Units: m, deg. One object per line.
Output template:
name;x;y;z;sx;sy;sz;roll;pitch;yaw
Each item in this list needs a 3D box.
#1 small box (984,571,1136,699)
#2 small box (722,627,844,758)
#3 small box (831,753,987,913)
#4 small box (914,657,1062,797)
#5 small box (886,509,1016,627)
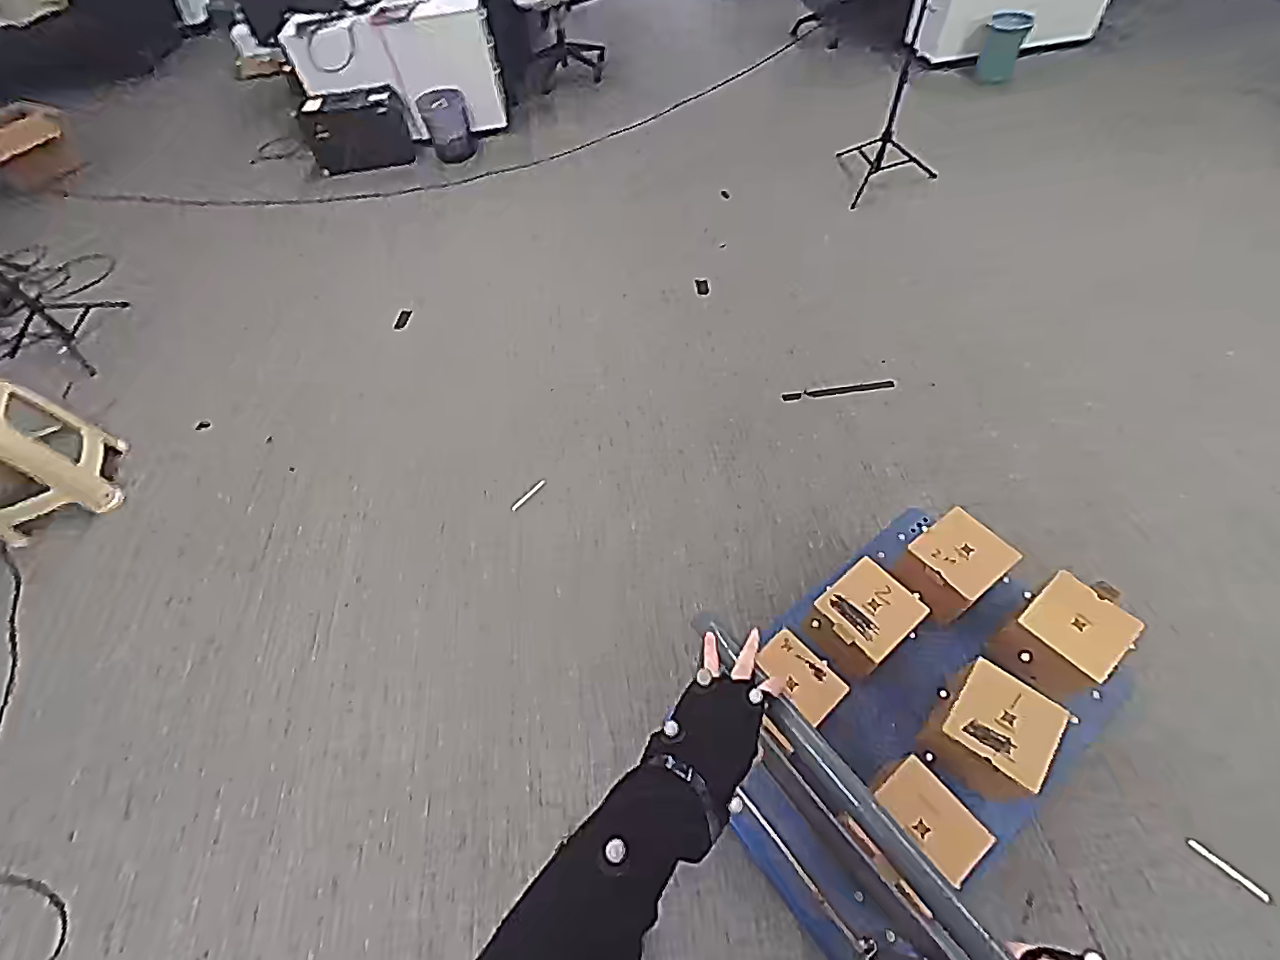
small box;0.873;0.334;1.147;0.179;0.176;0.168;-36;60;-19
small box;0.287;0.445;1.119;0.179;0.176;0.168;-37;61;-18
small box;0.469;0.633;0.977;0.179;0.176;0.168;-33;60;-17
small box;0.666;0.487;1.058;0.168;0.176;0.179;34;64;25
small box;0.705;0.205;1.247;0.179;0.176;0.168;-32;58;-16
